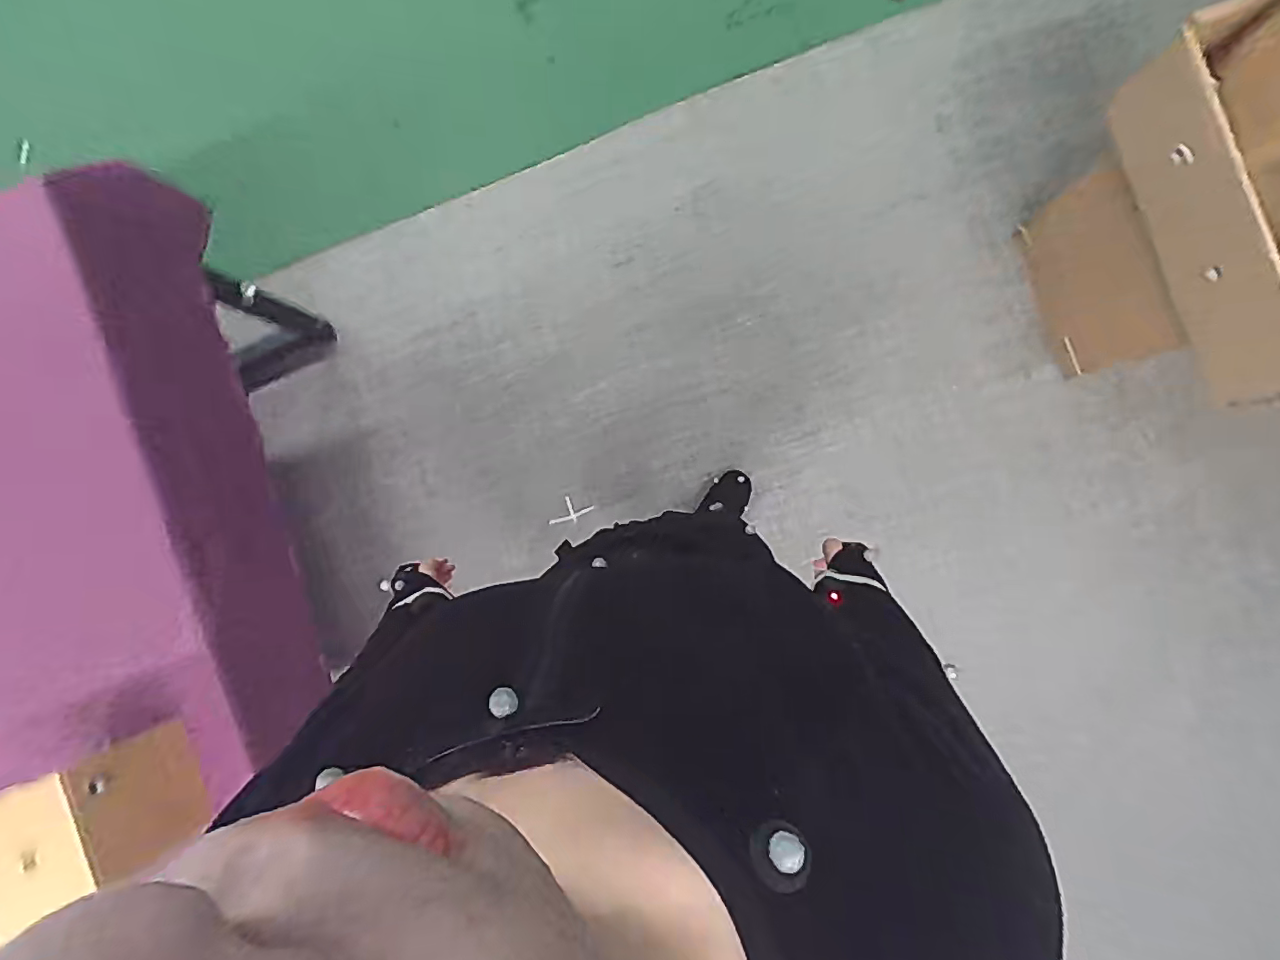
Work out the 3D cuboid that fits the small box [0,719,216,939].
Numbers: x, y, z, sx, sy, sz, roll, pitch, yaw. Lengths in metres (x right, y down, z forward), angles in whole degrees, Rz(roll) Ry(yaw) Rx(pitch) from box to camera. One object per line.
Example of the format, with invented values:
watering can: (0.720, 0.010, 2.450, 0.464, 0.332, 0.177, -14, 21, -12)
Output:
small box: (-0.757, 0.477, 0.766, 0.168, 0.176, 0.179, -24, 85, 6)
